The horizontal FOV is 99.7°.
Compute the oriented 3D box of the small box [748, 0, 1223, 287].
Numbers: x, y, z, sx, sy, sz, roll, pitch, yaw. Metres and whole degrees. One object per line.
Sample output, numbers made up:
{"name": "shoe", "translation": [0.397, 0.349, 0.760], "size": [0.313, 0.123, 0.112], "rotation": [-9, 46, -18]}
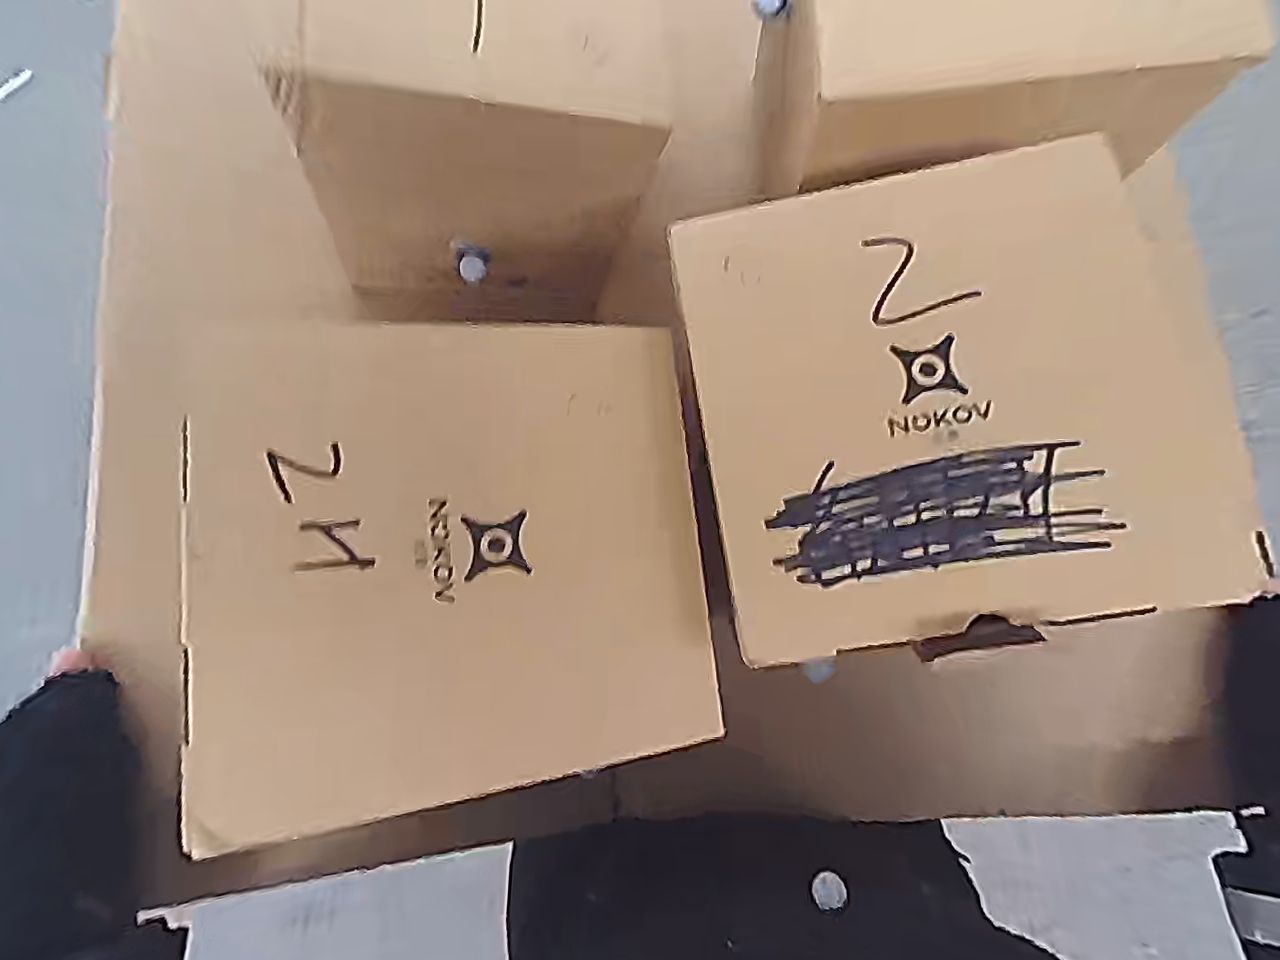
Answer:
{"name": "small box", "translation": [0.154, -0.228, 0.312], "size": [0.168, 0.176, 0.179], "rotation": [-3, 80, 6]}
